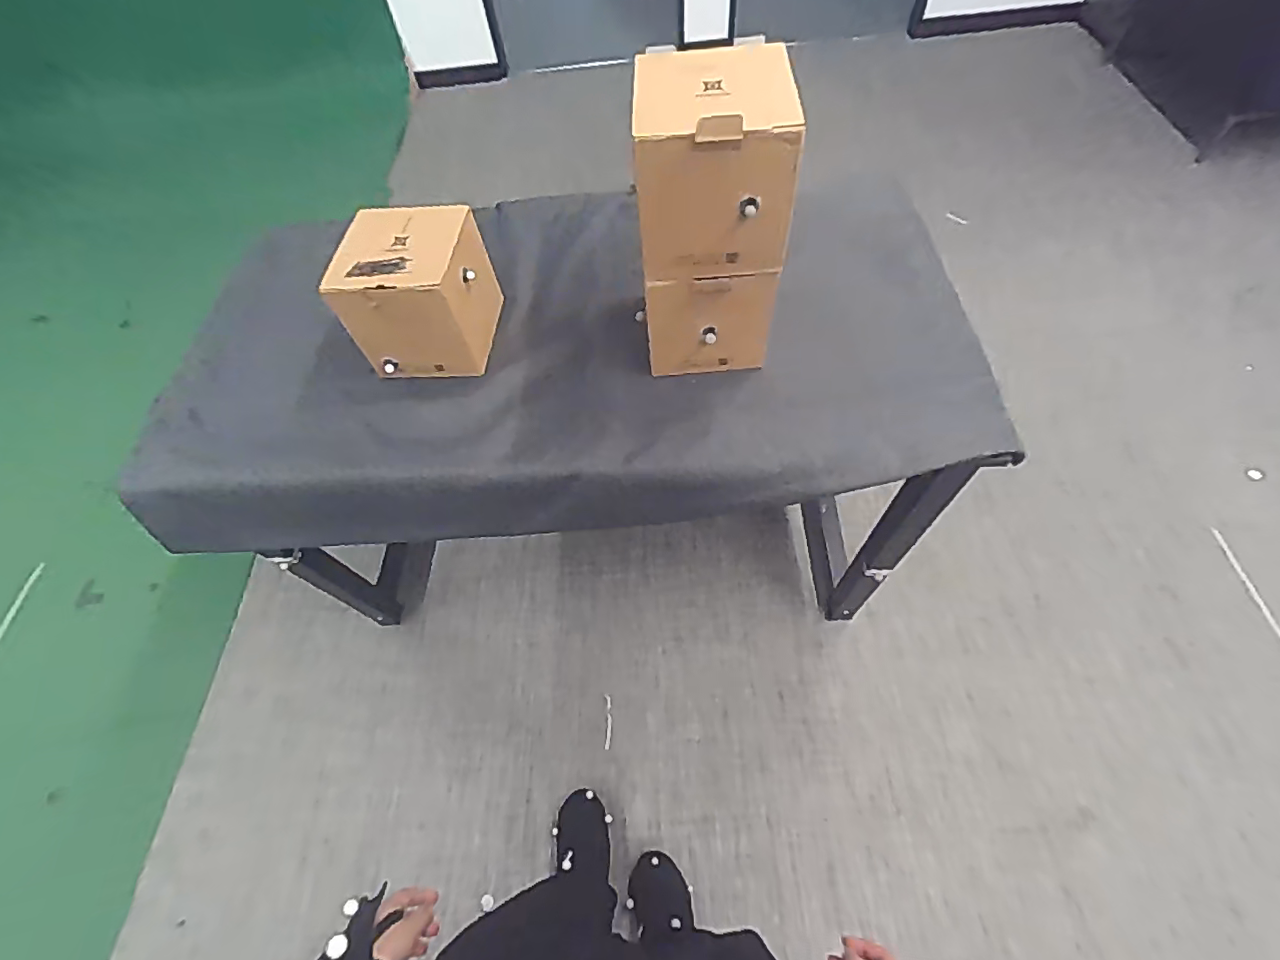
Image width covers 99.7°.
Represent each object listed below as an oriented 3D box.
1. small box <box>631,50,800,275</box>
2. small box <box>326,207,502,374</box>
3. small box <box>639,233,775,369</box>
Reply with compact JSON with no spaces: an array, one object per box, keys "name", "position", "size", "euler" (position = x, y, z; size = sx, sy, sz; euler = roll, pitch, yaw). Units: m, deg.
[{"name":"small box","position":[0.080,-0.357,0.627],"size":[0.168,0.176,0.179],"euler":[-1,58,3]},{"name":"small box","position":[-0.317,-0.273,0.803],"size":[0.168,0.176,0.179],"euler":[0,58,5]},{"name":"small box","position":[0.088,-0.272,0.766],"size":[0.168,0.176,0.179],"euler":[-4,59,2]}]
